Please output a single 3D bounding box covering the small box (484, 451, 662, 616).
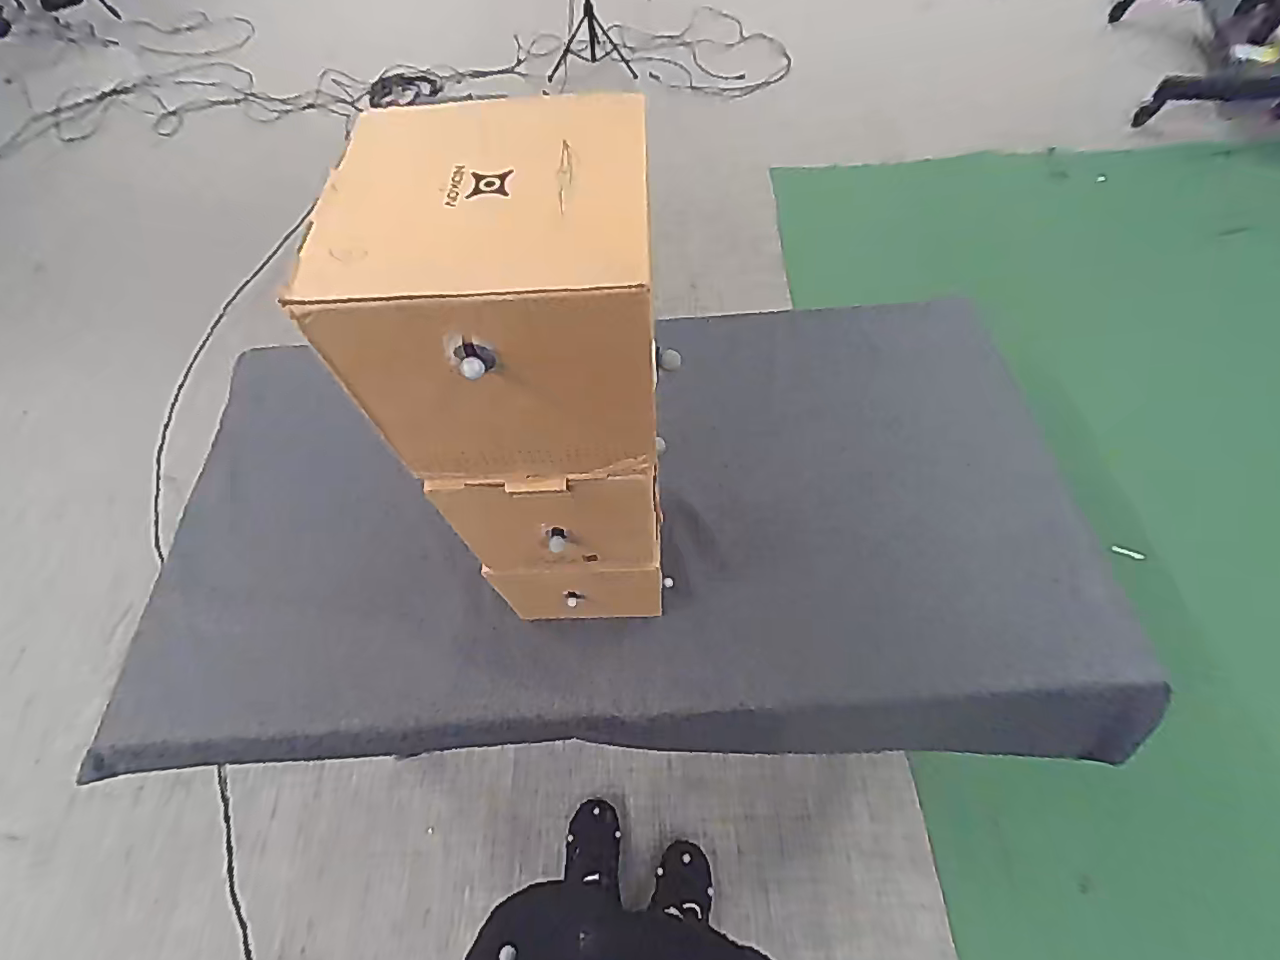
[{"bbox_3d":[-0.063,0.056,0.634,0.179,0.176,0.168,-2,60,3],"label":"small box"}]

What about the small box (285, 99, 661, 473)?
[{"bbox_3d":[-0.076,-0.114,0.356,0.179,0.176,0.168,-1,61,1],"label":"small box"}]

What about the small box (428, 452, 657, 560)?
[{"bbox_3d":[-0.071,-0.032,0.496,0.168,0.176,0.179,-3,61,1],"label":"small box"}]
